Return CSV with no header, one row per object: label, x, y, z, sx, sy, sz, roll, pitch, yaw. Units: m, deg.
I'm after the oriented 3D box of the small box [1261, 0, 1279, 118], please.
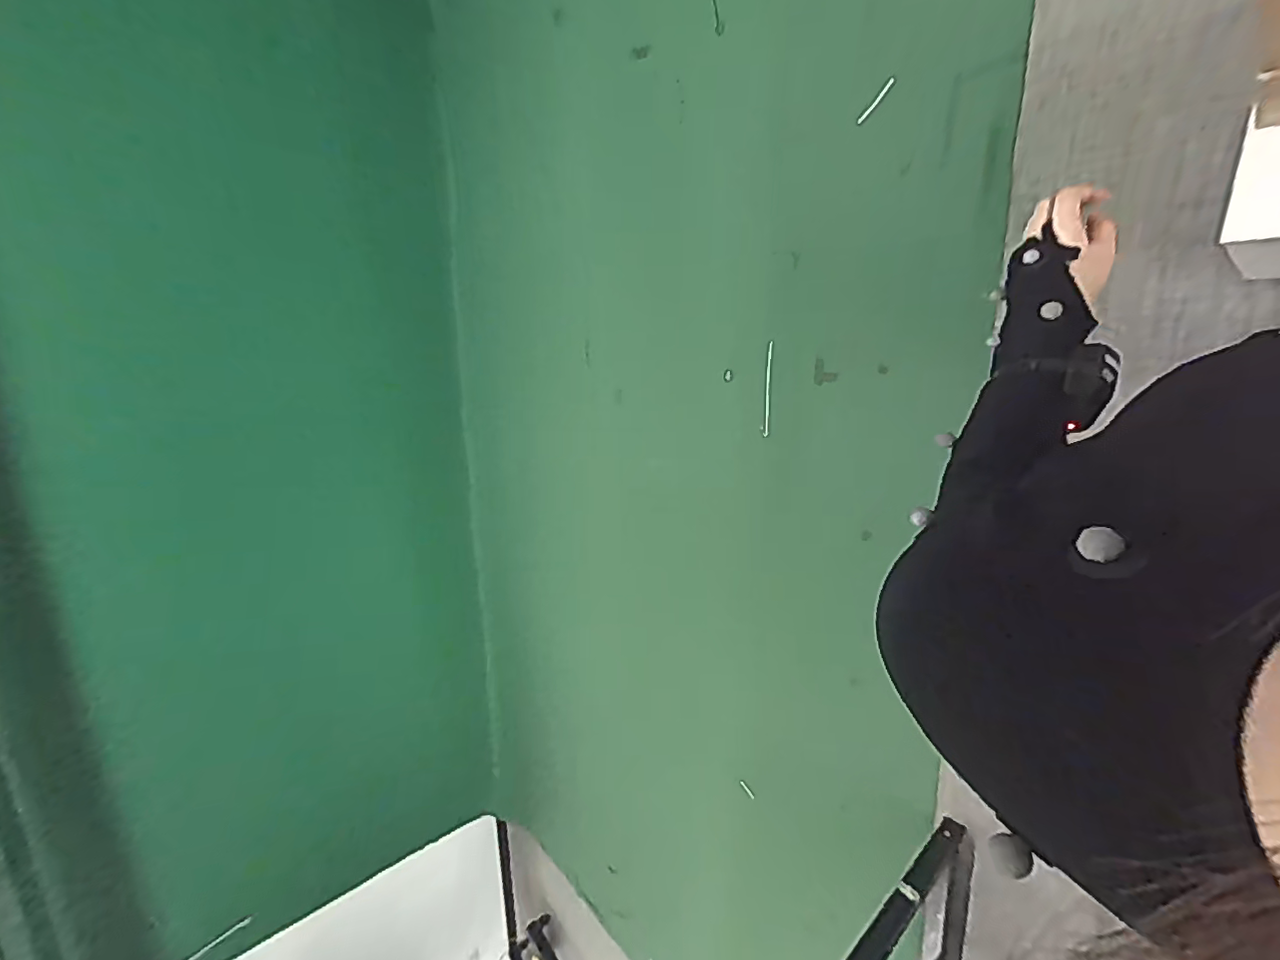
small box,0.670,-0.444,0.458,0.168,0.176,0.179,16,112,47
